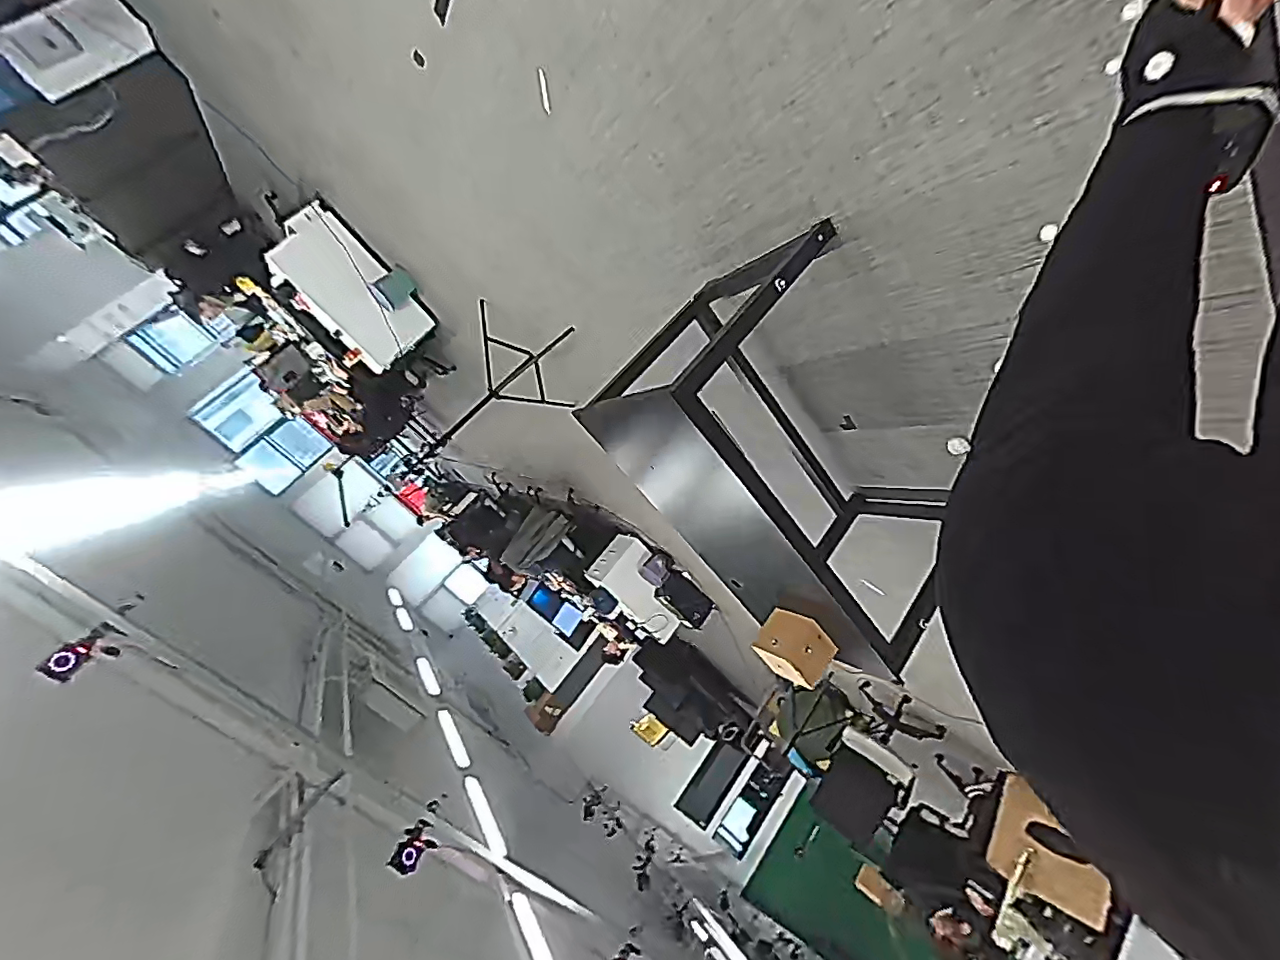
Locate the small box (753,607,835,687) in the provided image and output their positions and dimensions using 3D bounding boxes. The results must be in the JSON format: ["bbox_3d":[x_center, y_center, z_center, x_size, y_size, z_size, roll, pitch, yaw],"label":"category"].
[{"bbox_3d":[0.520,0.548,1.802,0.168,0.176,0.179,49,161,-21],"label":"small box"}]
